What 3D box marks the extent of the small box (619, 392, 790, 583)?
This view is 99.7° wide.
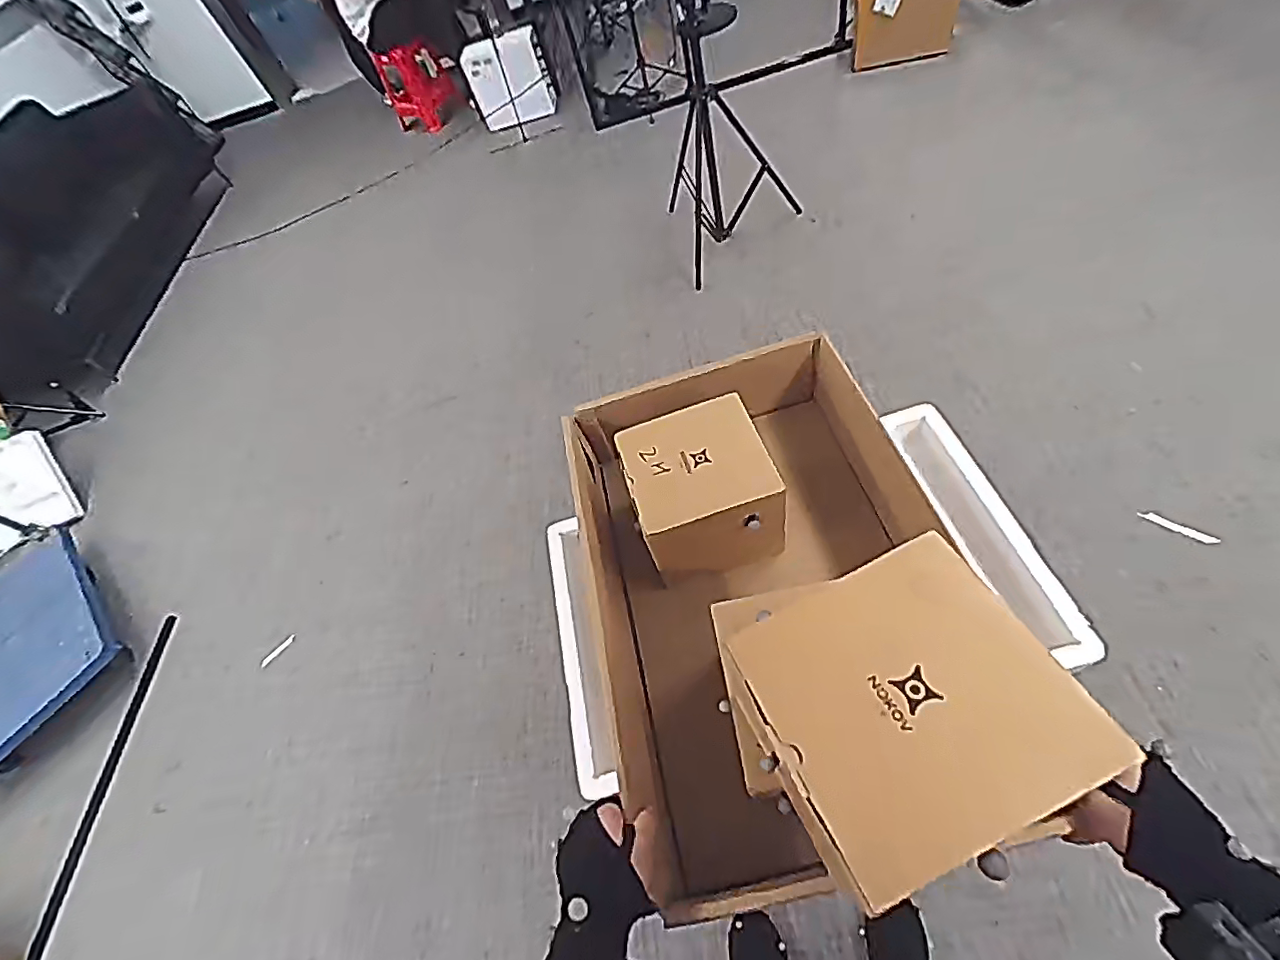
[{"bbox_3d":[0.086,0.016,0.731,0.179,0.176,0.168,-18,54,1],"label":"small box"}]
